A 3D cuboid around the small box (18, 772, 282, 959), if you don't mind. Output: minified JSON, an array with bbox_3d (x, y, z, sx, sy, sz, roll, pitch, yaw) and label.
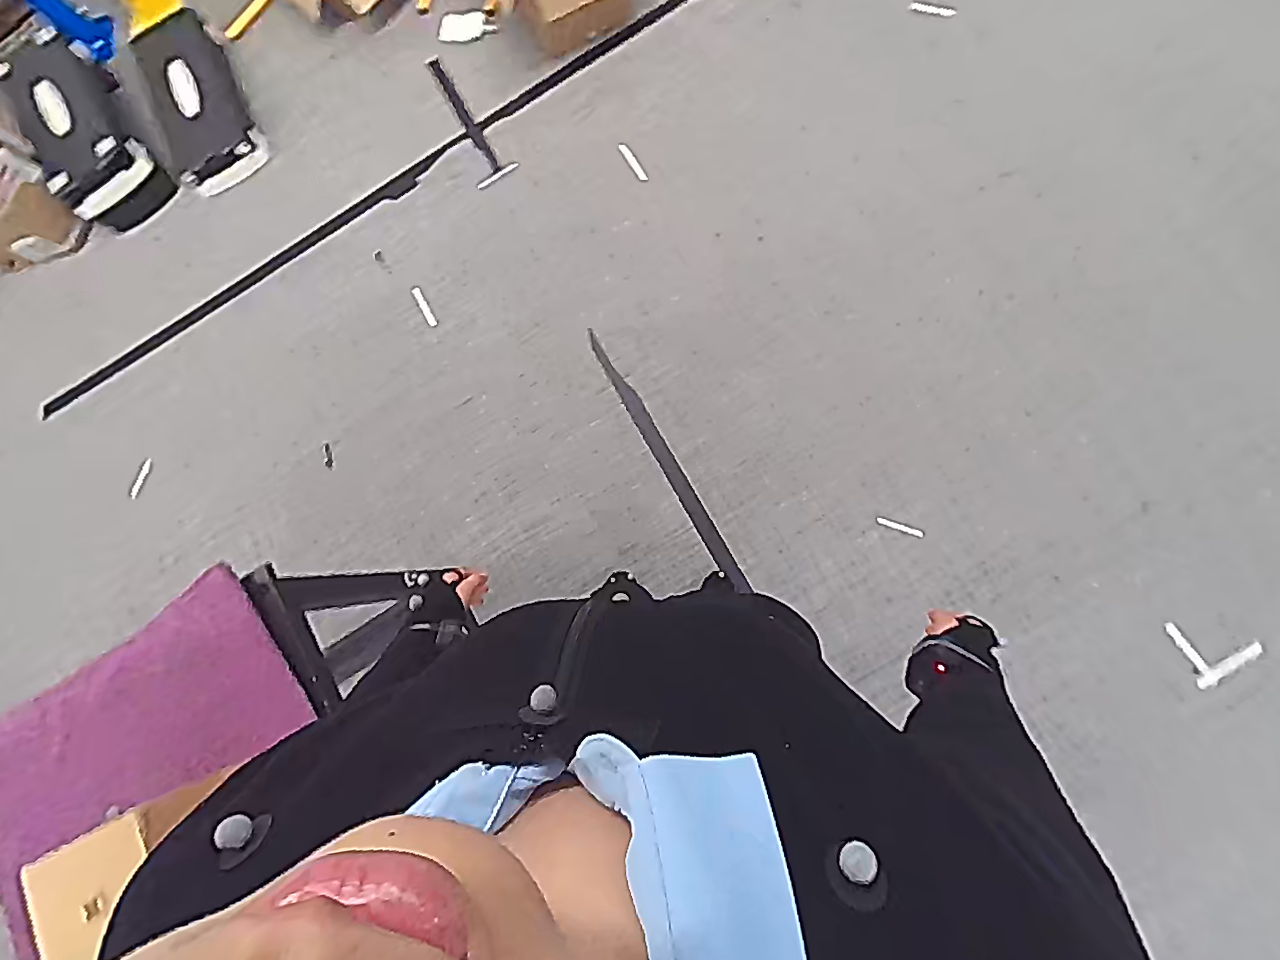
[{"bbox_3d":[-0.624,0.523,0.707,0.179,0.176,0.168,-29,79,3],"label":"small box"}]
